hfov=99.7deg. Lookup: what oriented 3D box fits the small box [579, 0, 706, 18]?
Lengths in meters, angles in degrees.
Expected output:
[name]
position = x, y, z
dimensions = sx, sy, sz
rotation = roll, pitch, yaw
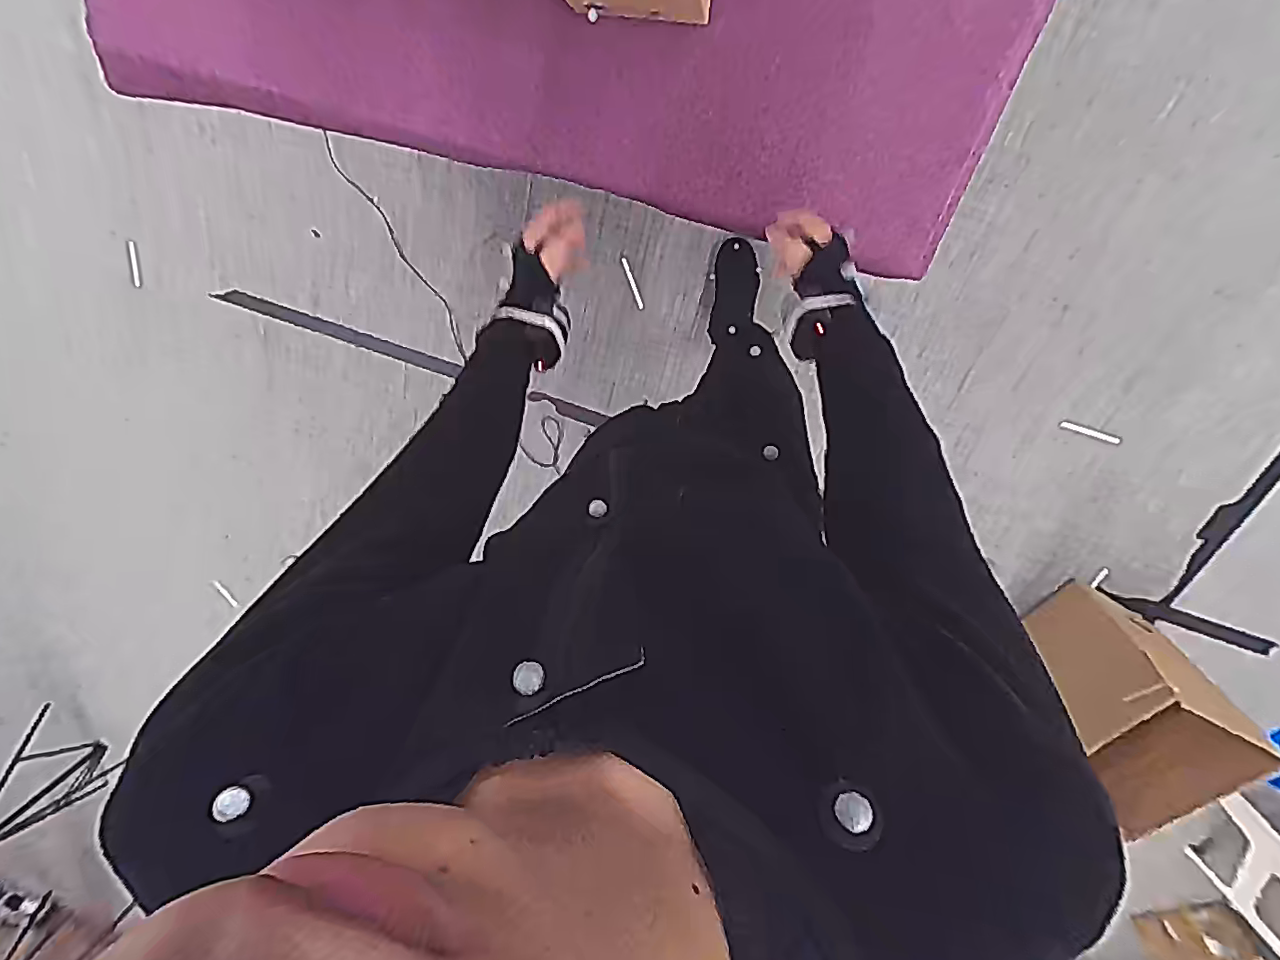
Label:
[small box]
position = -0.008, -0.599, 0.537
dimensions = 0.168, 0.176, 0.179
rotation = 11, 115, 7
